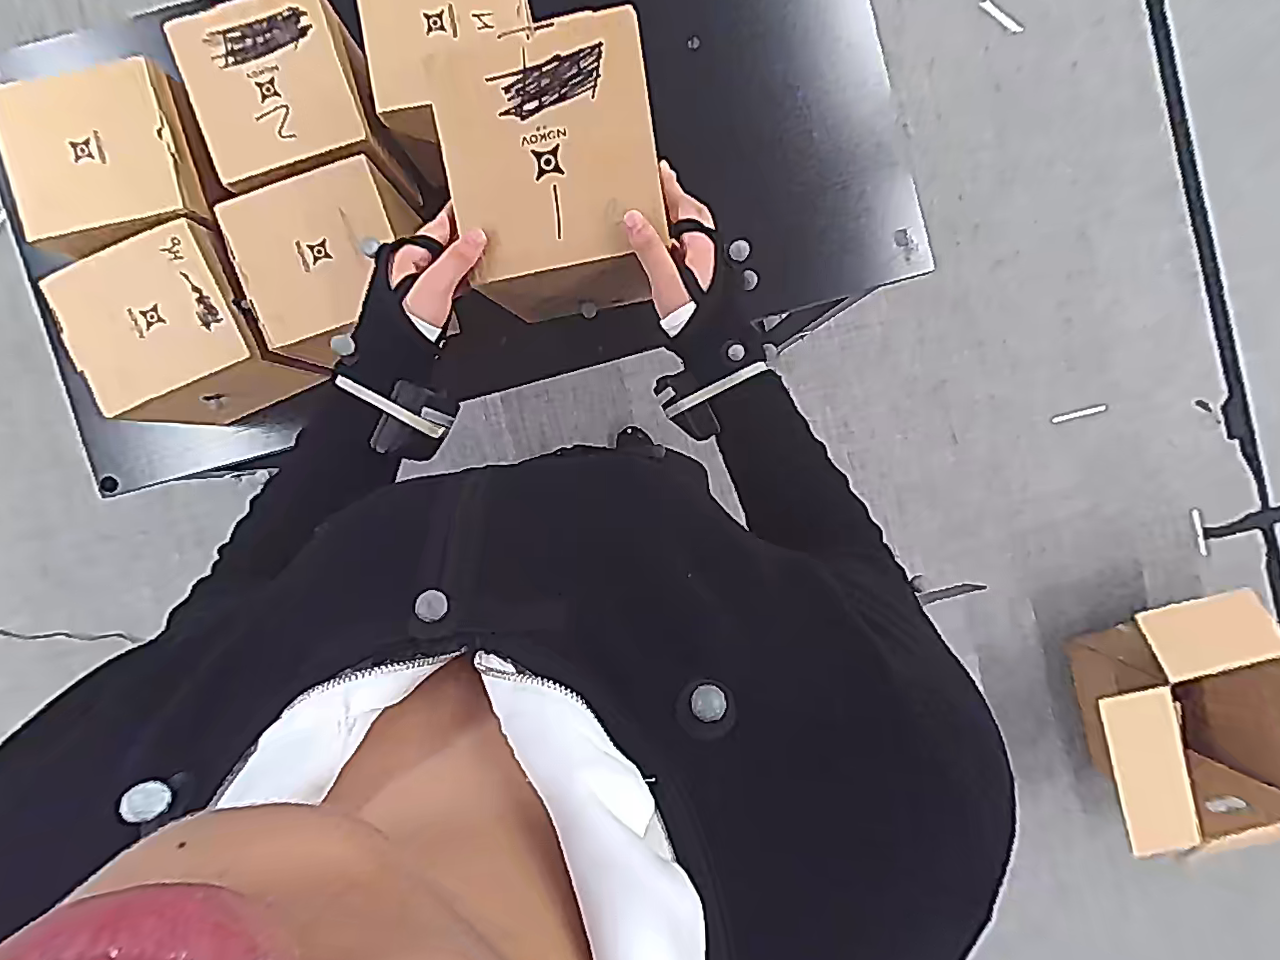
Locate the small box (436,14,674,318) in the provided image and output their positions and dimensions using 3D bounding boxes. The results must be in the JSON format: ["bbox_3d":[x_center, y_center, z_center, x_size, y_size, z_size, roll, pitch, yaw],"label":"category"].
[{"bbox_3d":[-0.062,-0.265,0.502,0.168,0.176,0.179,-9,96,6],"label":"small box"}]
